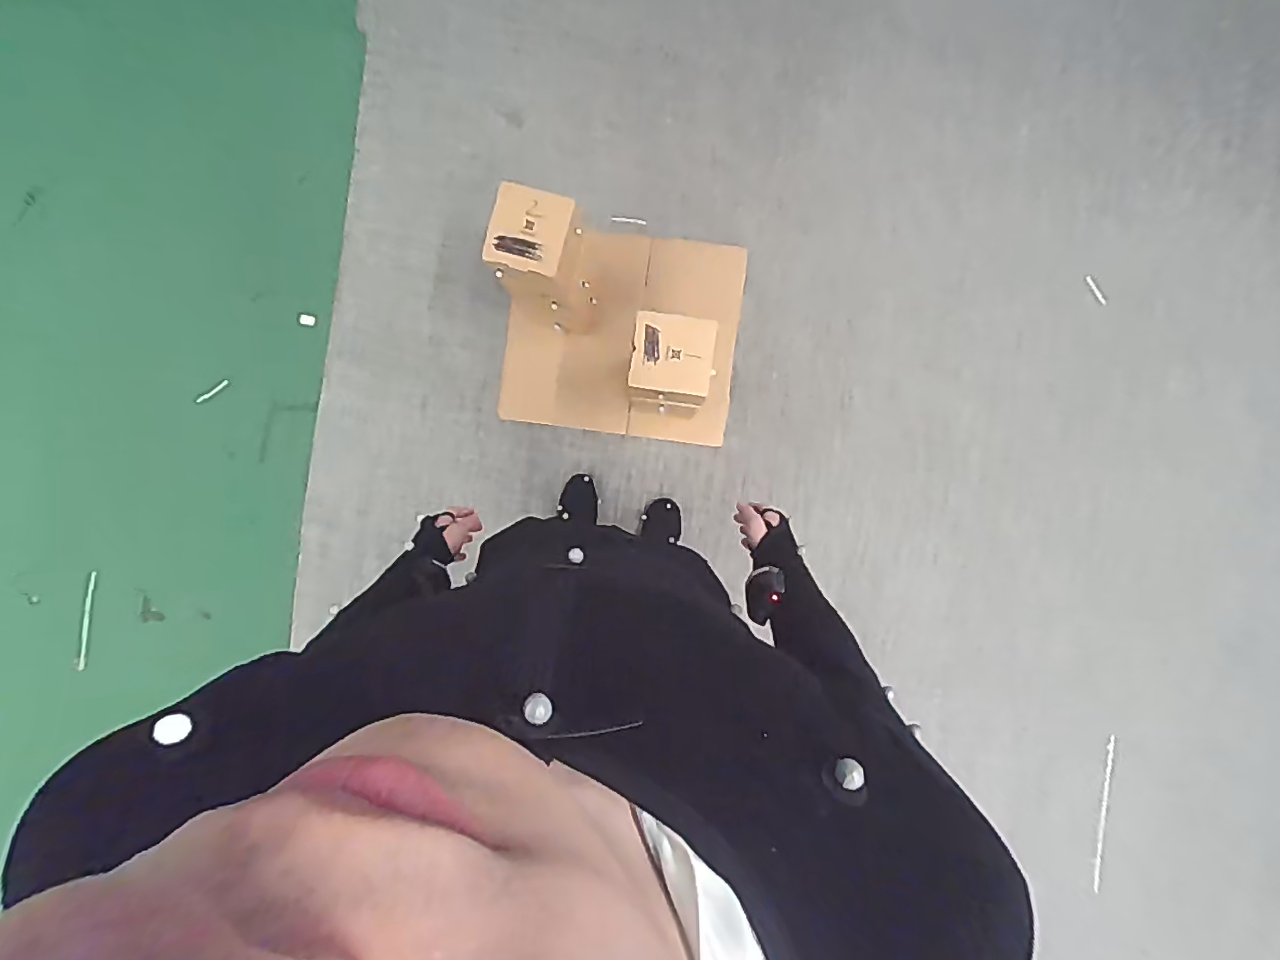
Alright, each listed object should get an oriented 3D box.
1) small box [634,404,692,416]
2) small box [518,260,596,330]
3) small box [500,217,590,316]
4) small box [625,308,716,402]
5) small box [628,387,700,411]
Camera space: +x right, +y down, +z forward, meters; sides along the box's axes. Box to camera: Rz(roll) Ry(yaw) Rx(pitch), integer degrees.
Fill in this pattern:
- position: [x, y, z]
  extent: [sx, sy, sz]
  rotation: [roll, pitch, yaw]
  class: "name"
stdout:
- position: [0.075, -0.282, 1.550]
  extent: [0.179, 0.176, 0.168]
  rotation: [8, 91, 1]
  class: "small box"
- position: [-0.234, -0.545, 1.552]
  extent: [0.179, 0.176, 0.168]
  rotation: [16, 90, 1]
  class: "small box"
- position: [-0.235, -0.536, 1.386]
  extent: [0.179, 0.176, 0.168]
  rotation: [15, 90, 1]
  class: "small box"
- position: [0.067, -0.275, 1.223]
  extent: [0.179, 0.176, 0.168]
  rotation: [8, 92, 2]
  class: "small box"
- position: [0.070, -0.273, 1.388]
  extent: [0.179, 0.176, 0.168]
  rotation: [7, 92, 3]
  class: "small box"
